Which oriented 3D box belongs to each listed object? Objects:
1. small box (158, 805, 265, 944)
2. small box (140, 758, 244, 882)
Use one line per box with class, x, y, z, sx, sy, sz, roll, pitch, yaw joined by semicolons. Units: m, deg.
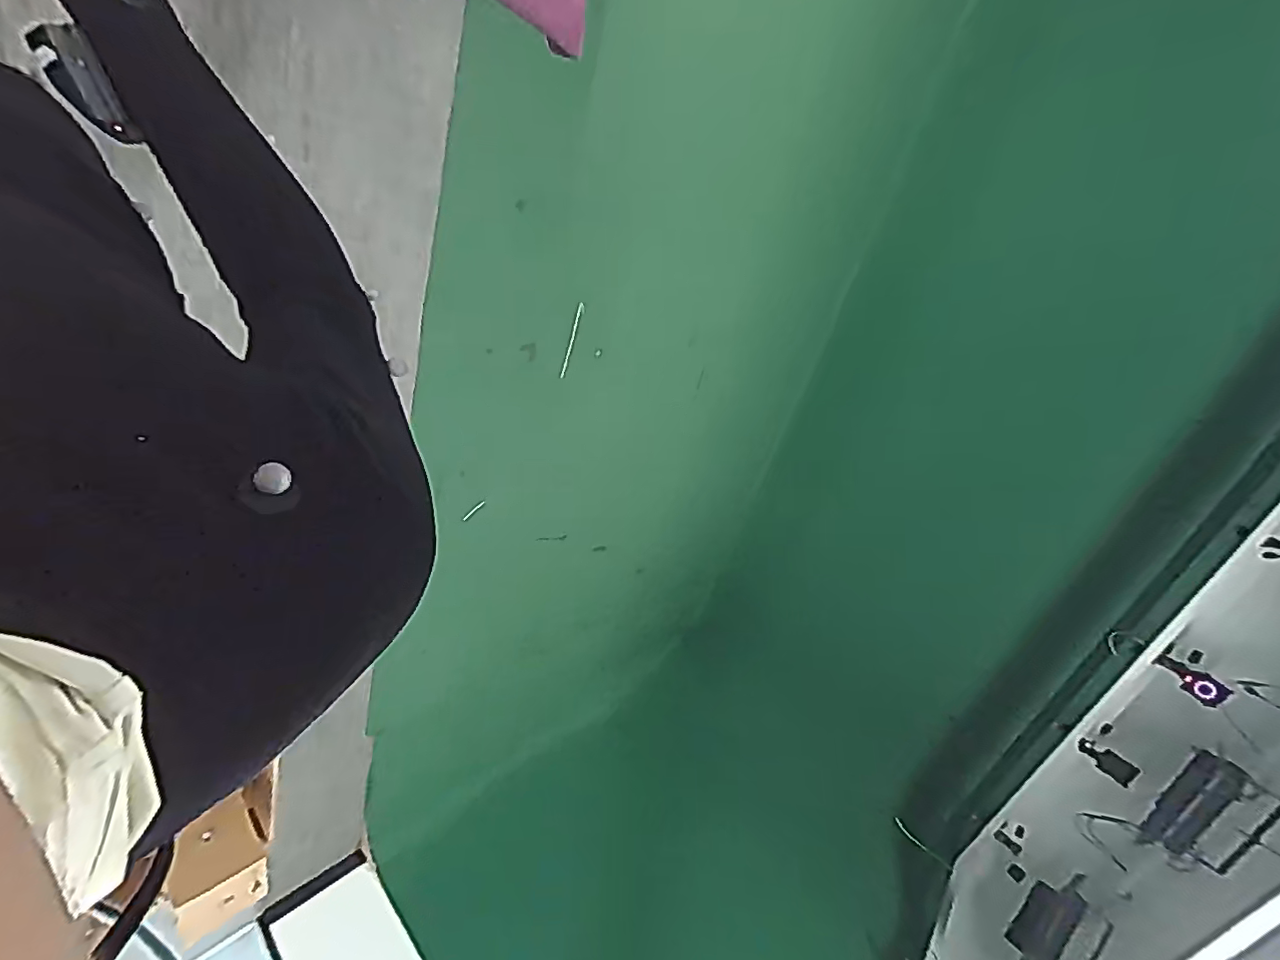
small box;-1.036;0.942;1.306;0.179;0.176;0.168;-13;129;-48
small box;-1.153;0.864;1.393;0.179;0.176;0.168;-10;126;-48
